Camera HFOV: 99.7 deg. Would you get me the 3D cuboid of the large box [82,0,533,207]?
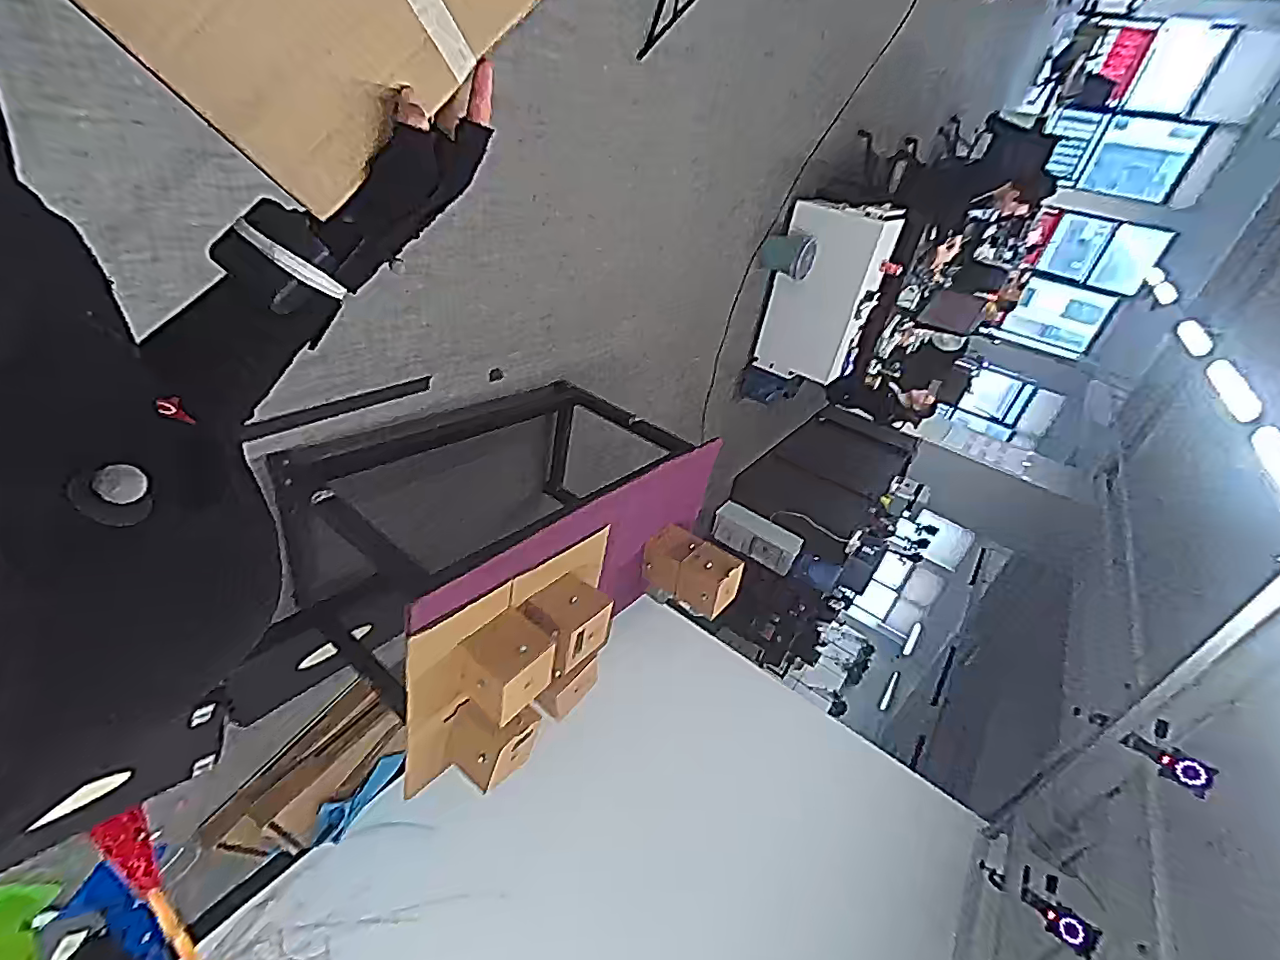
[{"bbox_3d":[-0.302,-0.469,0.312,0.320,0.320,0.408,-46,152,-1],"label":"large box"}]
